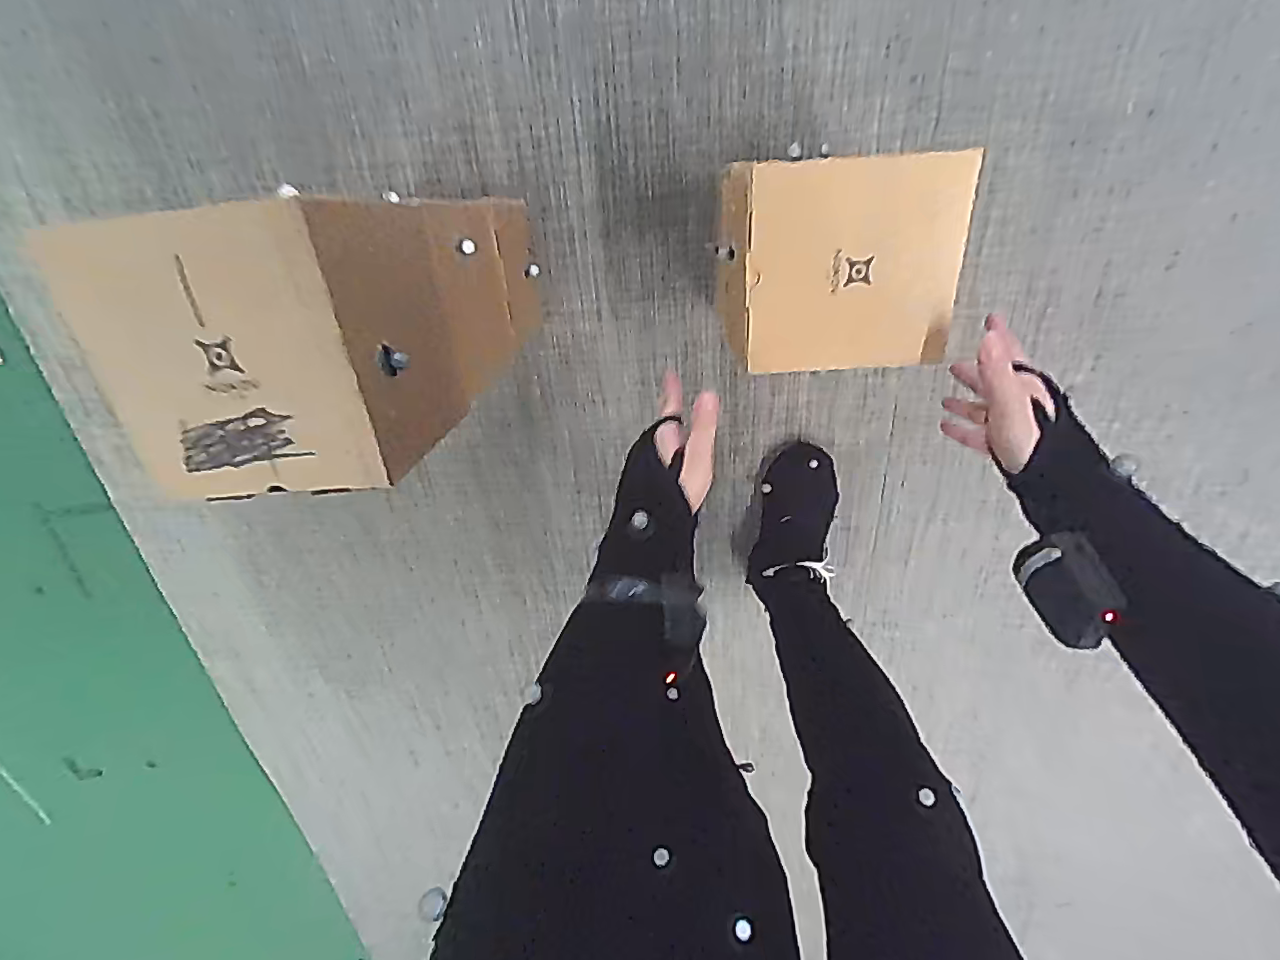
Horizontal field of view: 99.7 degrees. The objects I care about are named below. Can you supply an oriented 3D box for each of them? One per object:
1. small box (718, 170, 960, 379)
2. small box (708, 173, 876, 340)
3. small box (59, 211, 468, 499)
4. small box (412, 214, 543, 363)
[{"bbox_3d":[0.174,-0.206,0.537,0.179,0.176,0.168,-3,115,4],"label":"small box"},{"bbox_3d":[0.177,-0.281,0.681,0.168,0.176,0.179,-2,116,2],"label":"small box"},{"bbox_3d":[-0.251,-0.103,0.419,0.168,0.176,0.179,-4,114,4],"label":"small box"},{"bbox_3d":[-0.238,-0.251,0.711,0.179,0.176,0.168,-3,115,3],"label":"small box"}]
